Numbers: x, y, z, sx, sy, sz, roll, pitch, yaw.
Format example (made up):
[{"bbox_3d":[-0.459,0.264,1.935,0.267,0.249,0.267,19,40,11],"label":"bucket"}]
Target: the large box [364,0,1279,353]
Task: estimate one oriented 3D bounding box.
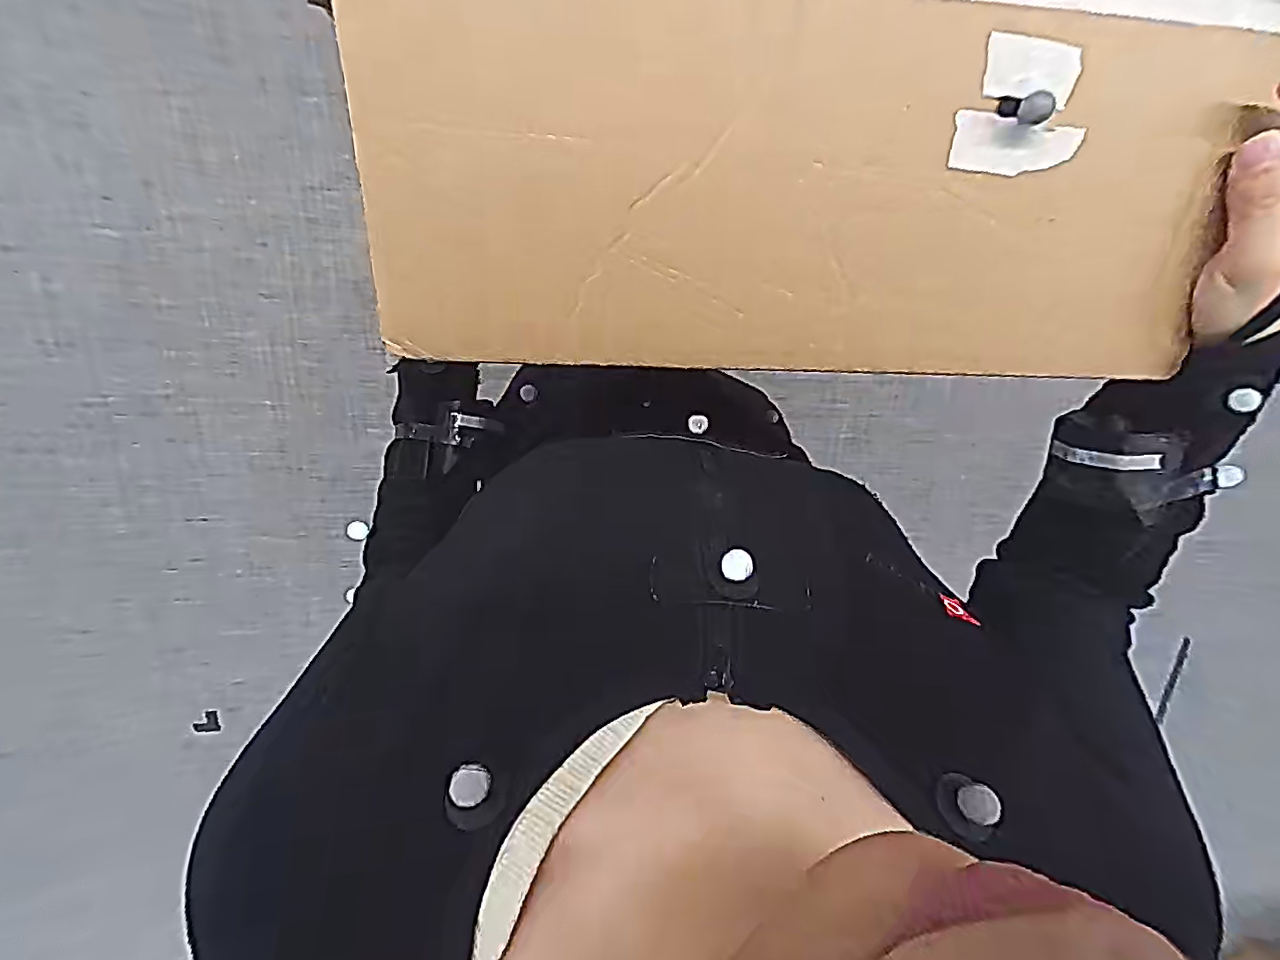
[{"bbox_3d":[0.073,-0.266,0.348,0.408,0.320,0.320,-1,115,-9],"label":"large box"}]
